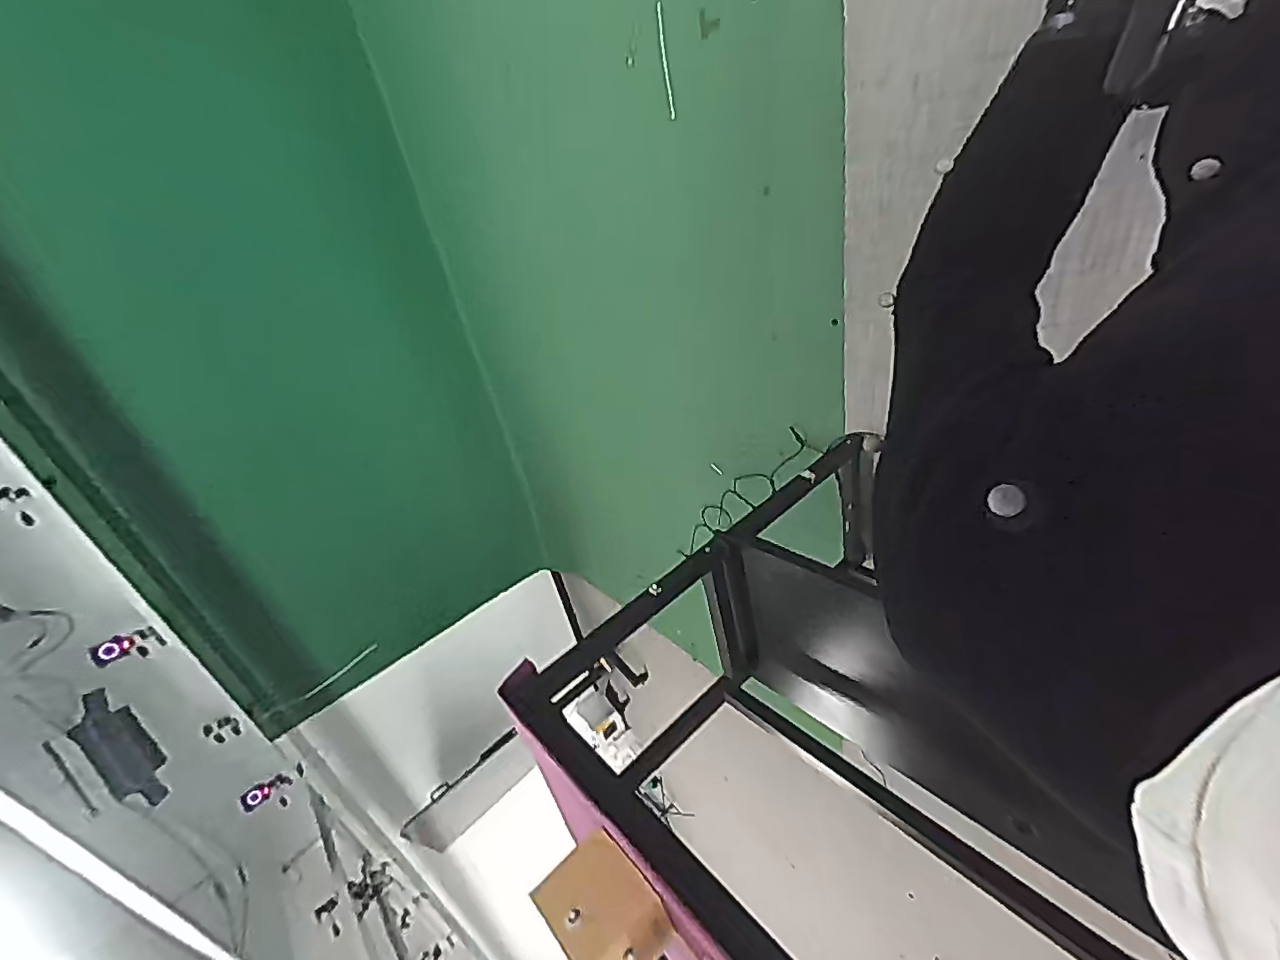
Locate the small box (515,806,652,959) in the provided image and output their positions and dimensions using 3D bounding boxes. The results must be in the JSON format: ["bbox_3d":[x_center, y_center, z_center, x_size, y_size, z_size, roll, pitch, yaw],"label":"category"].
[{"bbox_3d":[-0.094,0.756,0.995,0.179,0.176,0.168,23,137,44],"label":"small box"}]
